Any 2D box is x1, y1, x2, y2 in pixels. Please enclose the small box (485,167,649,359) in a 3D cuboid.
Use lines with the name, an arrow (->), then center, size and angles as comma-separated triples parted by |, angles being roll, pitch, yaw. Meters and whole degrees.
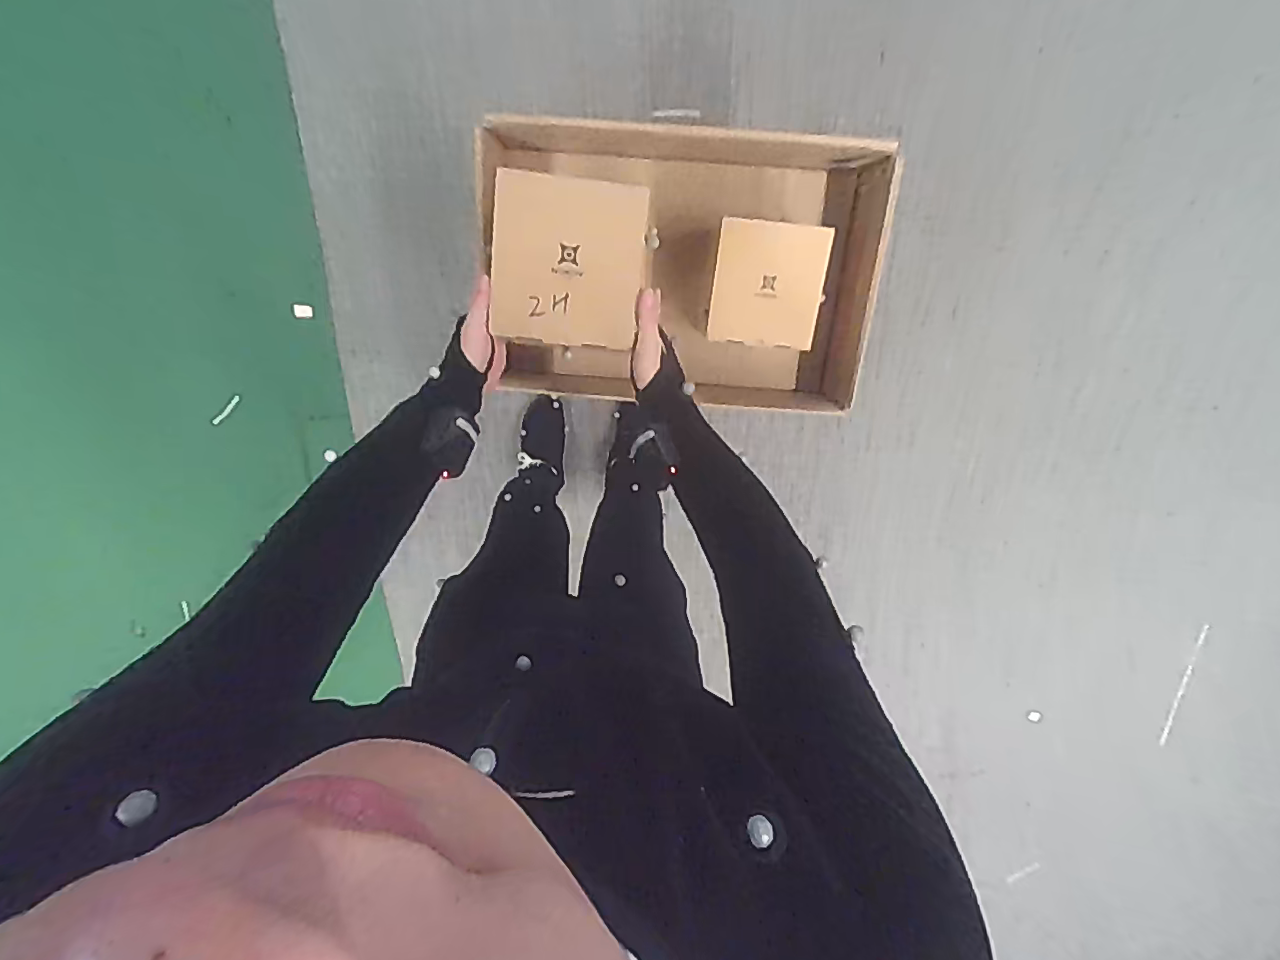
small box -> -0.084, -0.247, 0.659 | 0.168, 0.176, 0.179 | 5, 101, -3
